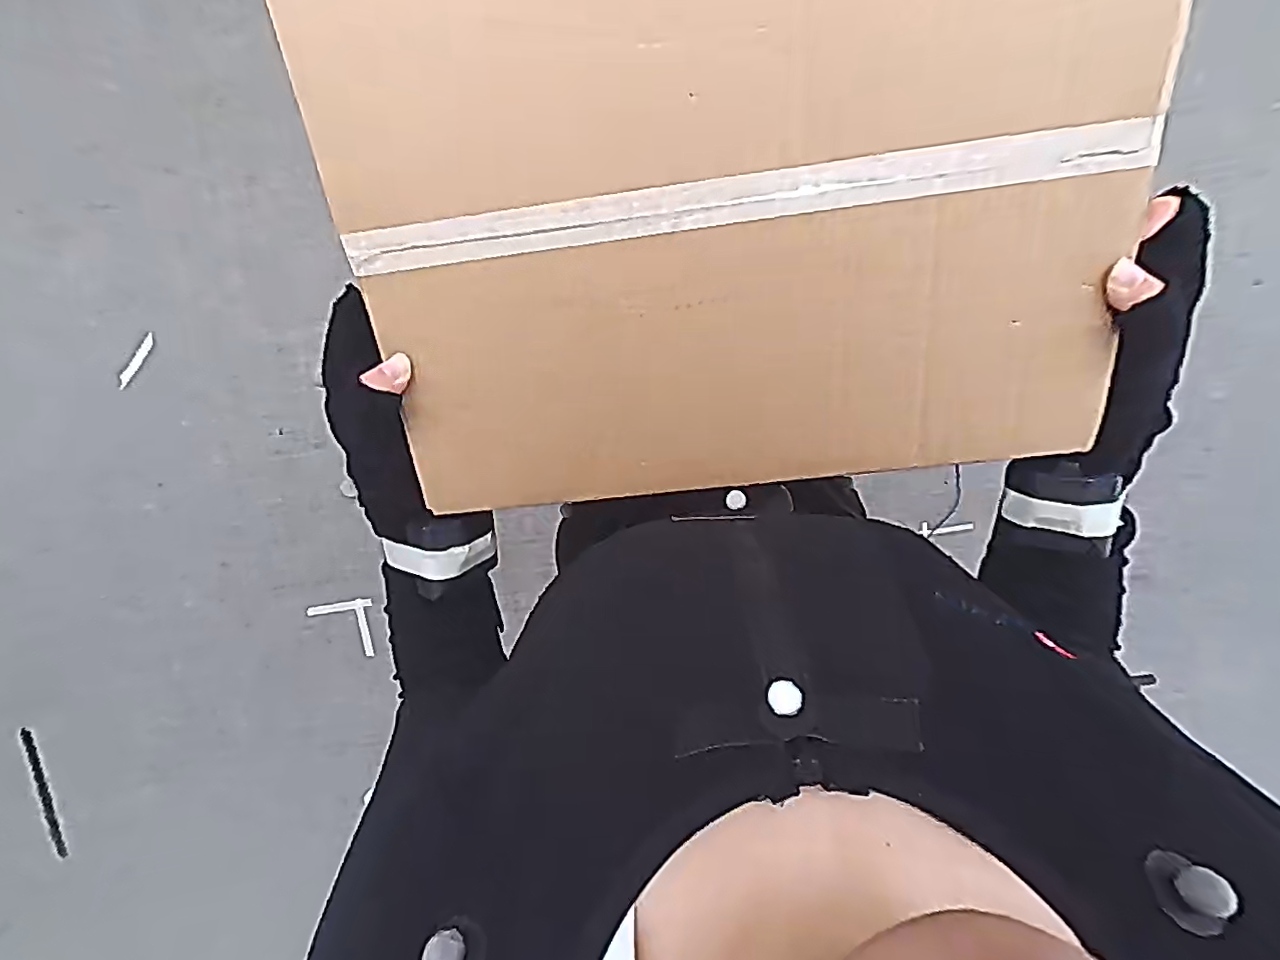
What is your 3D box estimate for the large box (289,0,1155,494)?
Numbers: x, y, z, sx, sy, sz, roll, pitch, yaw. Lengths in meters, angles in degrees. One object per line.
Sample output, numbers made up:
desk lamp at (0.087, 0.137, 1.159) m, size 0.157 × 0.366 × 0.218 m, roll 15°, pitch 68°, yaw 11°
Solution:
large box at (0.045, -0.209, 0.420) m, size 0.408 × 0.320 × 0.320 m, roll -6°, pitch 114°, yaw 4°
